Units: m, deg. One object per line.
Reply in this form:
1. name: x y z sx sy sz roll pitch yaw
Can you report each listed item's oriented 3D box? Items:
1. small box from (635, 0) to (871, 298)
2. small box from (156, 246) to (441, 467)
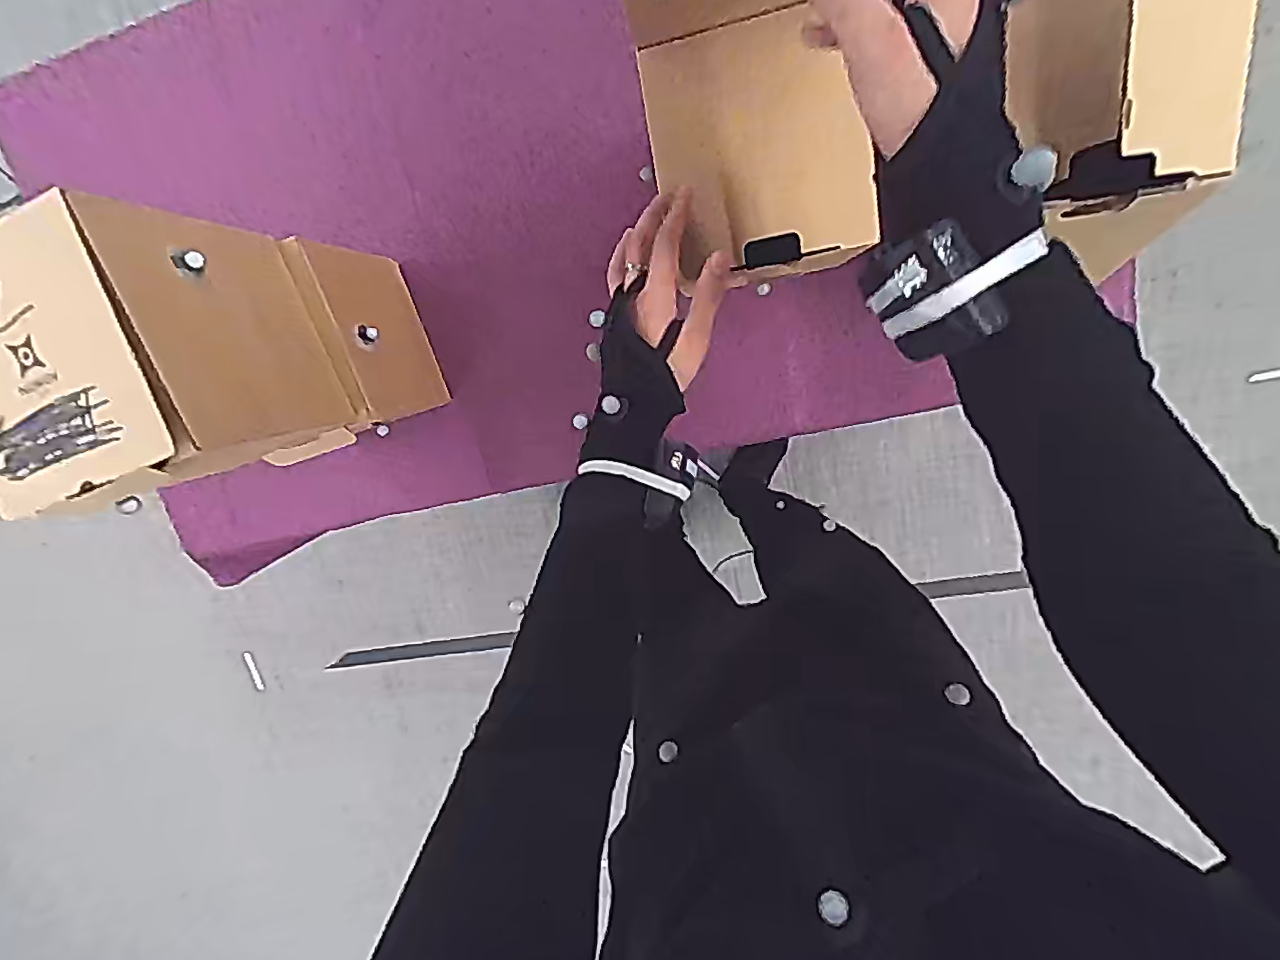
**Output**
1. small box: 0.097 -0.273 0.491 0.168 0.176 0.179 -8 104 11
2. small box: -0.350 -0.133 0.593 0.168 0.176 0.179 -15 102 11
